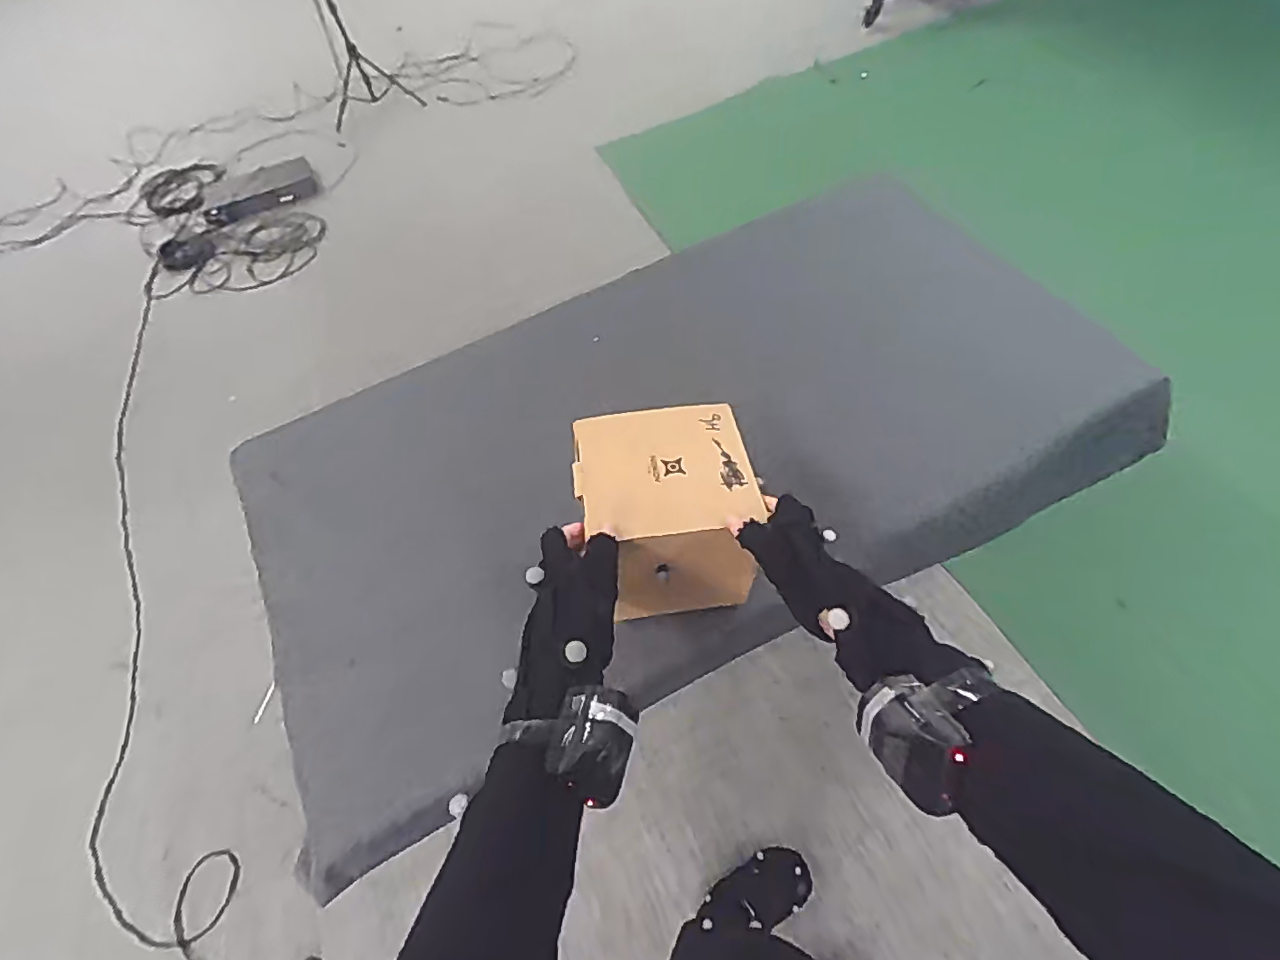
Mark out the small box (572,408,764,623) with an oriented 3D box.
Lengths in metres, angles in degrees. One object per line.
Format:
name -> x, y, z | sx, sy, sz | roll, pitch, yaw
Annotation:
small box -> 0.026, 0.044, 0.603 | 0.179, 0.176, 0.168 | -7, 50, -2
